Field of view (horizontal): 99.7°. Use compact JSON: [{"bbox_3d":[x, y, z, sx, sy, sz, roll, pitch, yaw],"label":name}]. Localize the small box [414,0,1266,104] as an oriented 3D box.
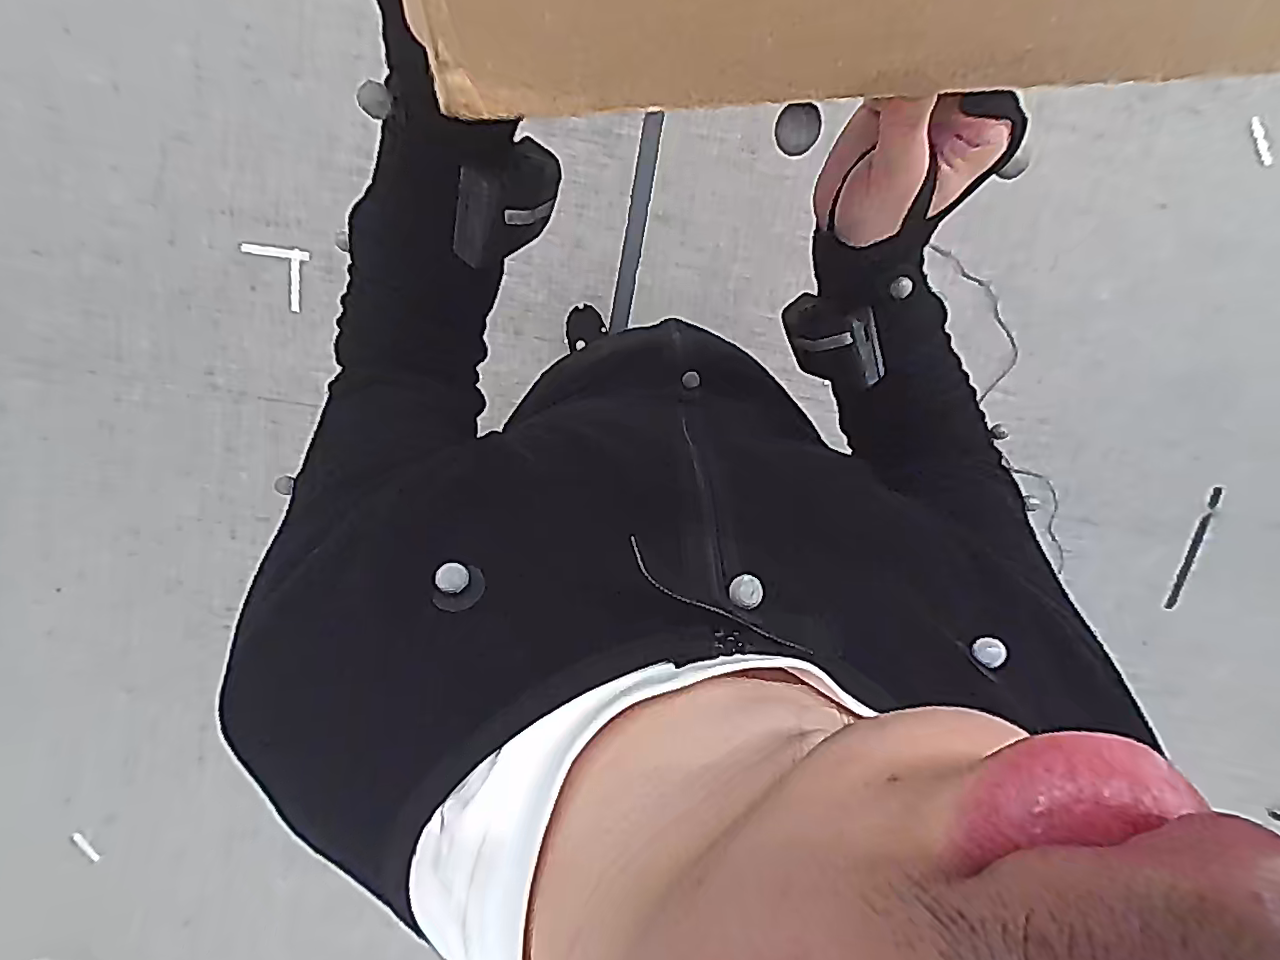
[{"bbox_3d":[0.037,-0.200,0.131,0.179,0.176,0.168,-3,129,2],"label":"small box"}]
